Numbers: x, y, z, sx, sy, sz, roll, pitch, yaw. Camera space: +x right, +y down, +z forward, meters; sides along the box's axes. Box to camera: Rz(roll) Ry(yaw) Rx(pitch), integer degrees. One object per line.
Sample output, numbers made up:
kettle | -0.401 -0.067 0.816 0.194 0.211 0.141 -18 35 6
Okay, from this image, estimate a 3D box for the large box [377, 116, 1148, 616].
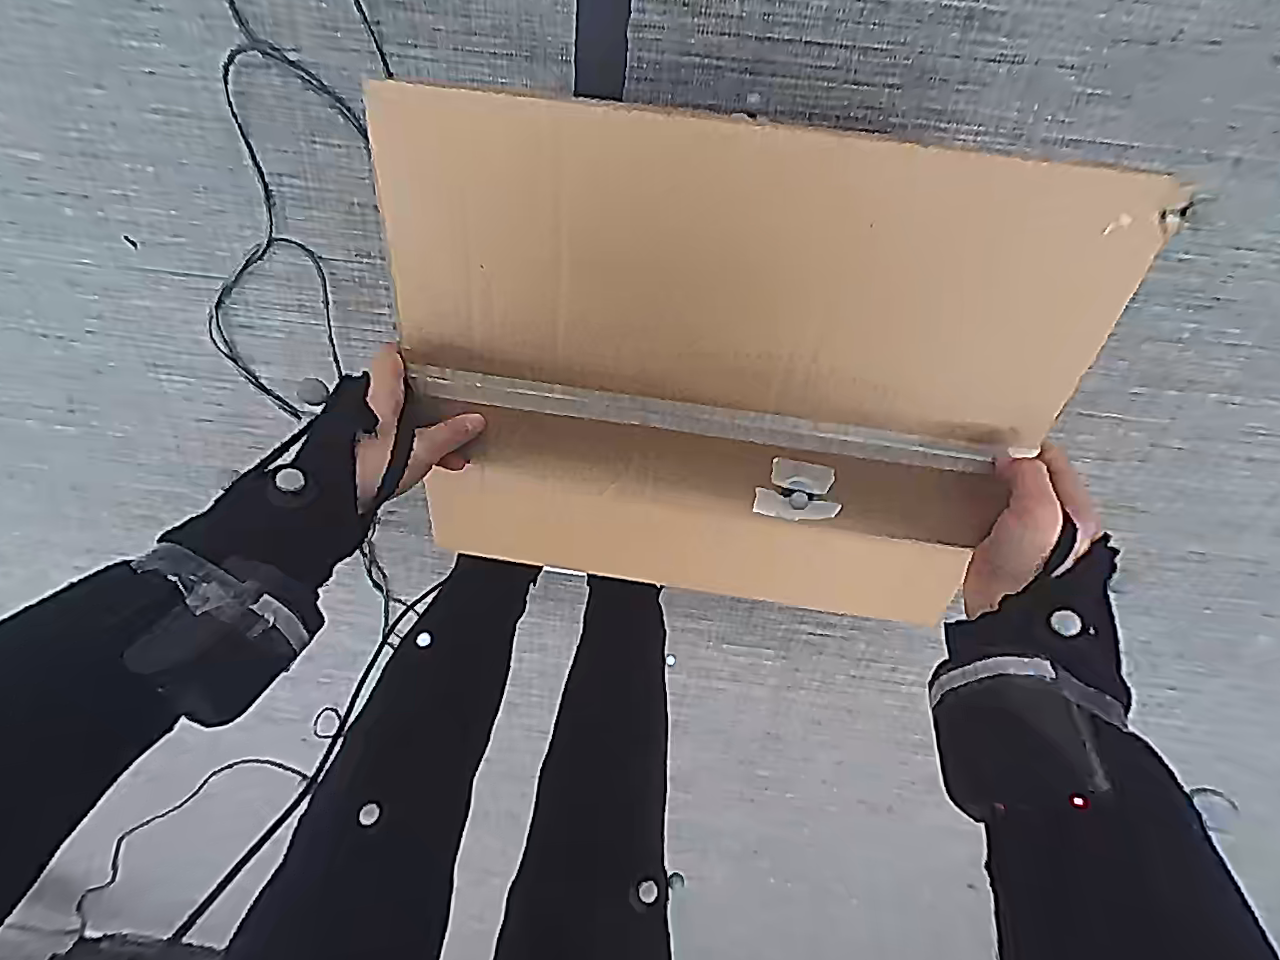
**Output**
large box | 0.058 -0.121 0.481 0.408 0.320 0.320 8 125 2
